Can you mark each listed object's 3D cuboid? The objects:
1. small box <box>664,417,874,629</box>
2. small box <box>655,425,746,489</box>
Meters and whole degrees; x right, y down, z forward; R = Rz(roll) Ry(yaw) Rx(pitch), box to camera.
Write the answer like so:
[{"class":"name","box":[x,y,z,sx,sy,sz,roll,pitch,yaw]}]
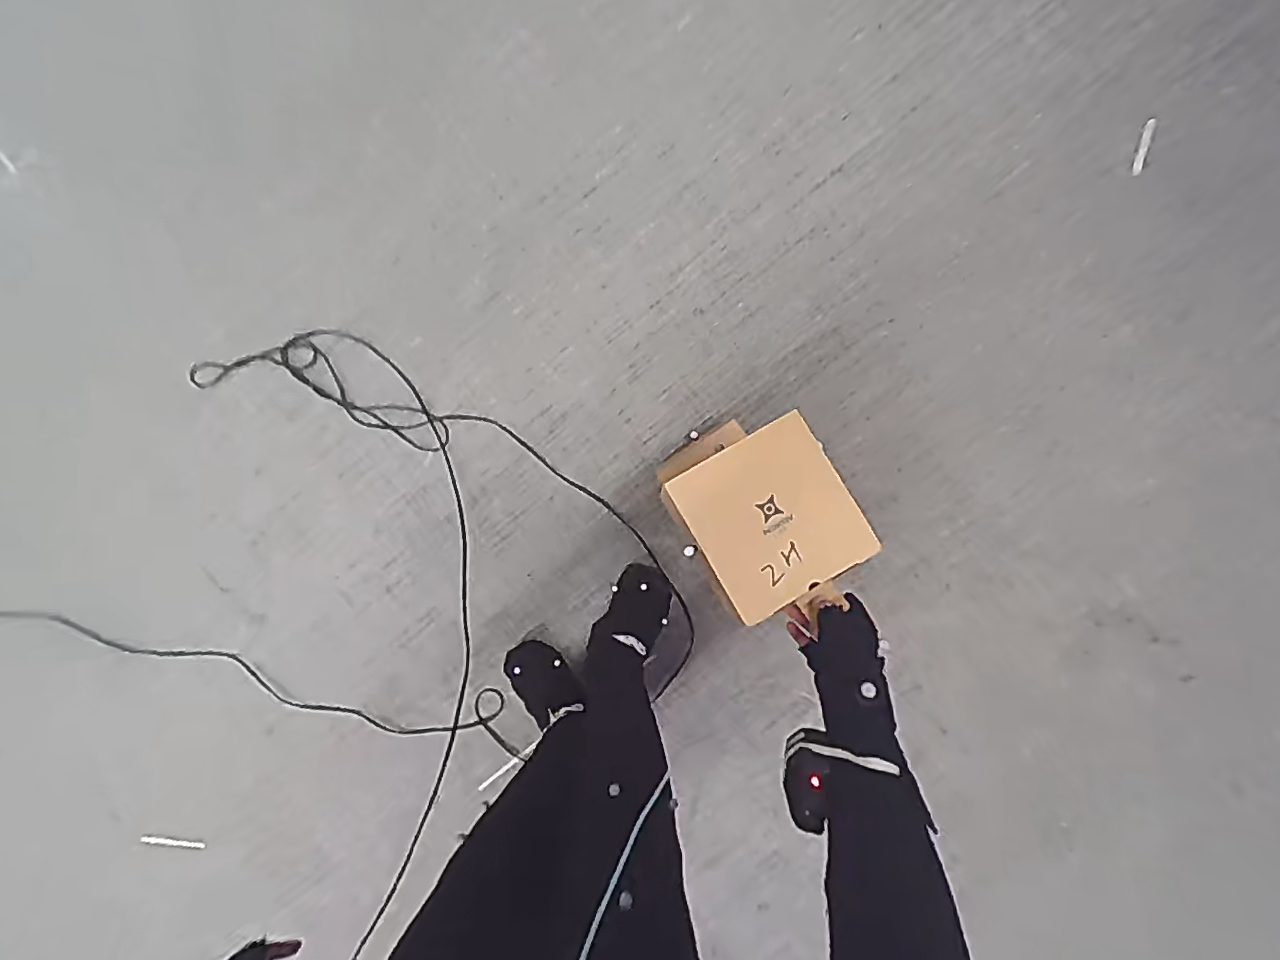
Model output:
[{"class":"small box","box":[0.137,0.052,0.652,0.168,0.176,0.179,-30,85,-1]},{"class":"small box","box":[0.143,0.011,0.994,0.168,0.176,0.179,-35,94,4]}]
